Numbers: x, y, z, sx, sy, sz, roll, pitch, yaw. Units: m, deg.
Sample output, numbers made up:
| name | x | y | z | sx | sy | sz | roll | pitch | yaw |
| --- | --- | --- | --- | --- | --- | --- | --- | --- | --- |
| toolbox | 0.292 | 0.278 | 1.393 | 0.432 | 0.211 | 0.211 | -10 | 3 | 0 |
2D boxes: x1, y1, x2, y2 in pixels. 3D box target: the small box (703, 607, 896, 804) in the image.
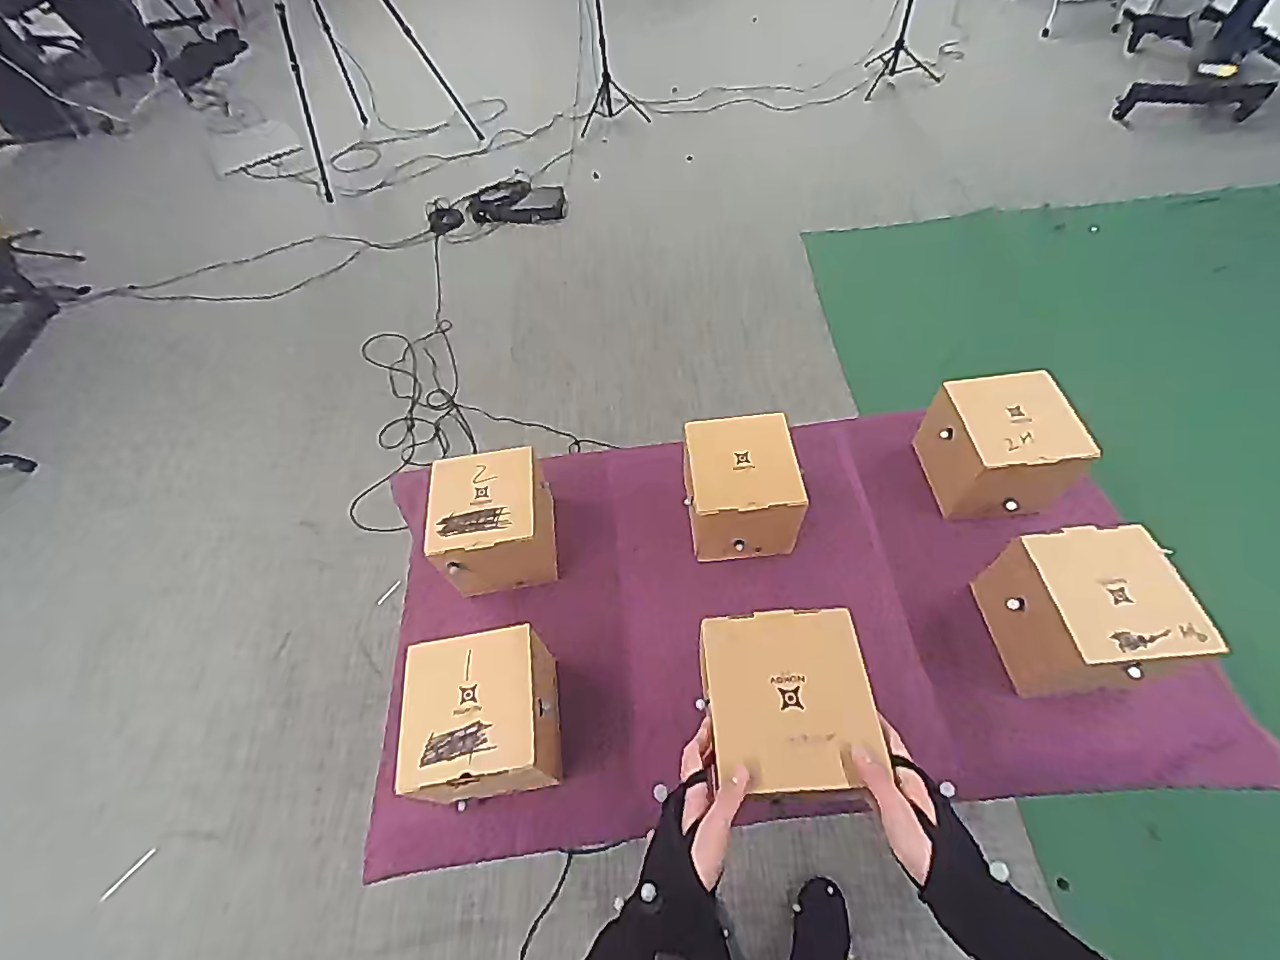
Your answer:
| name | x | y | z | sx | sy | sz | roll | pitch | yaw |
| --- | --- | --- | --- | --- | --- | --- | --- | --- | --- |
| small box | 0.161 | 0.261 | 0.617 | 0.168 | 0.176 | 0.179 | -5 | 57 | 3 |

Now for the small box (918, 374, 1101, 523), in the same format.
| name | x | y | z | sx | sy | sz | roll | pitch | yaw |
| --- | --- | --- | --- | --- | --- | --- | --- | --- | --- |
| small box | 0.591 | -0.049 | 0.898 | 0.168 | 0.176 | 0.179 | -6 | 56 | 4 |

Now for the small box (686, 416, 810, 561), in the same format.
| name | x | y | z | sx | sy | sz | roll | pitch | yaw |
| --- | --- | --- | --- | --- | --- | --- | --- | --- | --- |
| small box | 0.168 | 0.018 | 0.901 | 0.168 | 0.176 | 0.179 | -6 | 57 | 1 |

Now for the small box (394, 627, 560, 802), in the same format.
| name | x | y | z | sx | sy | sz | roll | pitch | yaw |
| --- | --- | --- | --- | --- | --- | --- | --- | --- | --- |
| small box | -0.206 | 0.322 | 0.728 | 0.168 | 0.176 | 0.179 | -10 | 54 | -2 |

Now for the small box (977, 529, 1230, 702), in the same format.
| name | x | y | z | sx | sy | sz | roll | pitch | yaw |
| --- | --- | --- | --- | --- | --- | --- | --- | --- | --- |
| small box | 0.605 | 0.188 | 0.742 | 0.168 | 0.176 | 0.179 | -6 | 54 | 3 |
